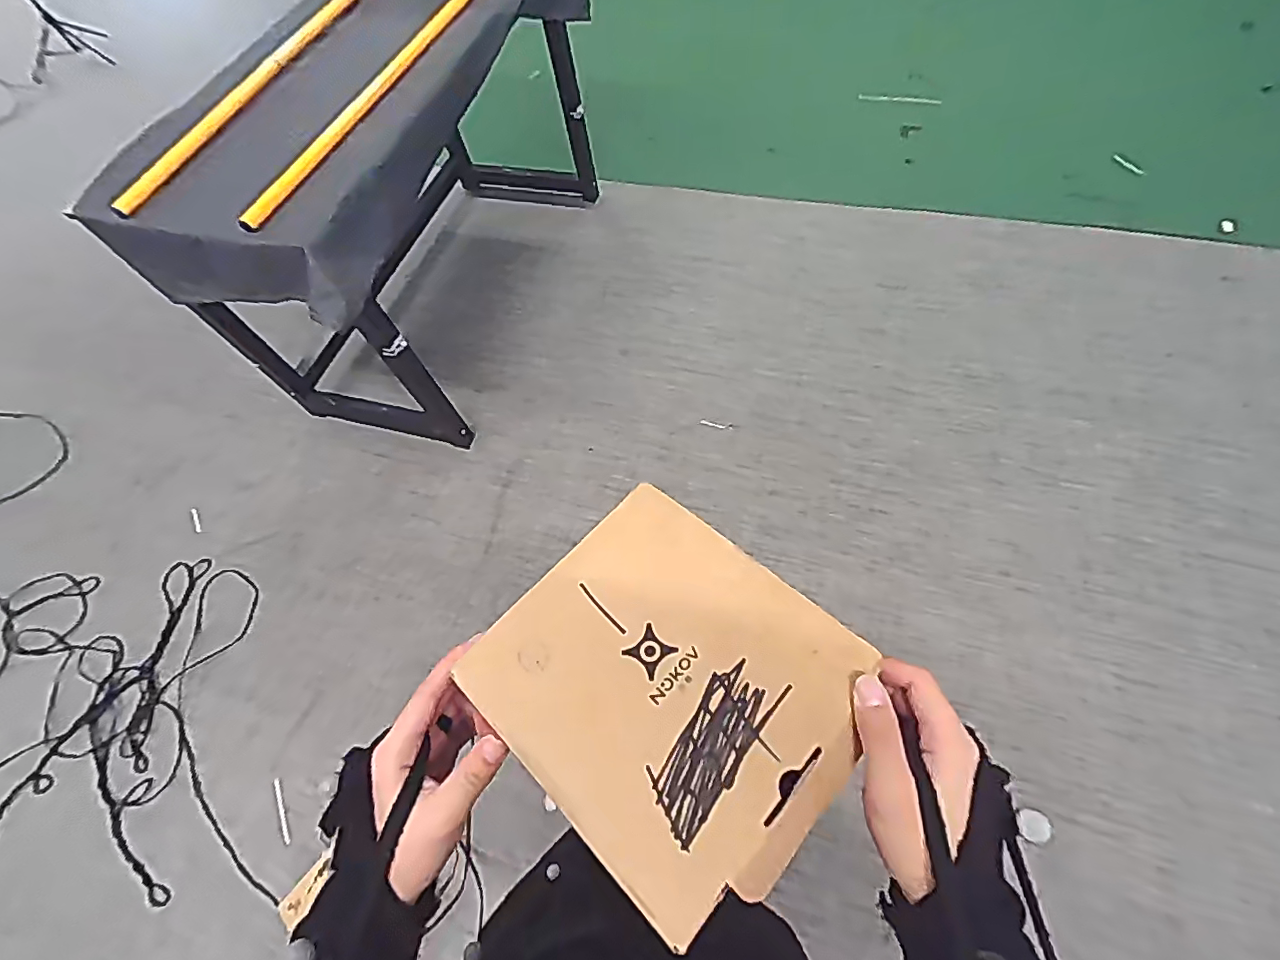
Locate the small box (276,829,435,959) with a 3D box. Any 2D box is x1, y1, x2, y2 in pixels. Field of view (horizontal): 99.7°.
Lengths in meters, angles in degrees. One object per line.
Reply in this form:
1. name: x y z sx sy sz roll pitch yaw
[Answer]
1. small box: -0.531 0.803 1.033 0.179 0.176 0.168 34 72 23
